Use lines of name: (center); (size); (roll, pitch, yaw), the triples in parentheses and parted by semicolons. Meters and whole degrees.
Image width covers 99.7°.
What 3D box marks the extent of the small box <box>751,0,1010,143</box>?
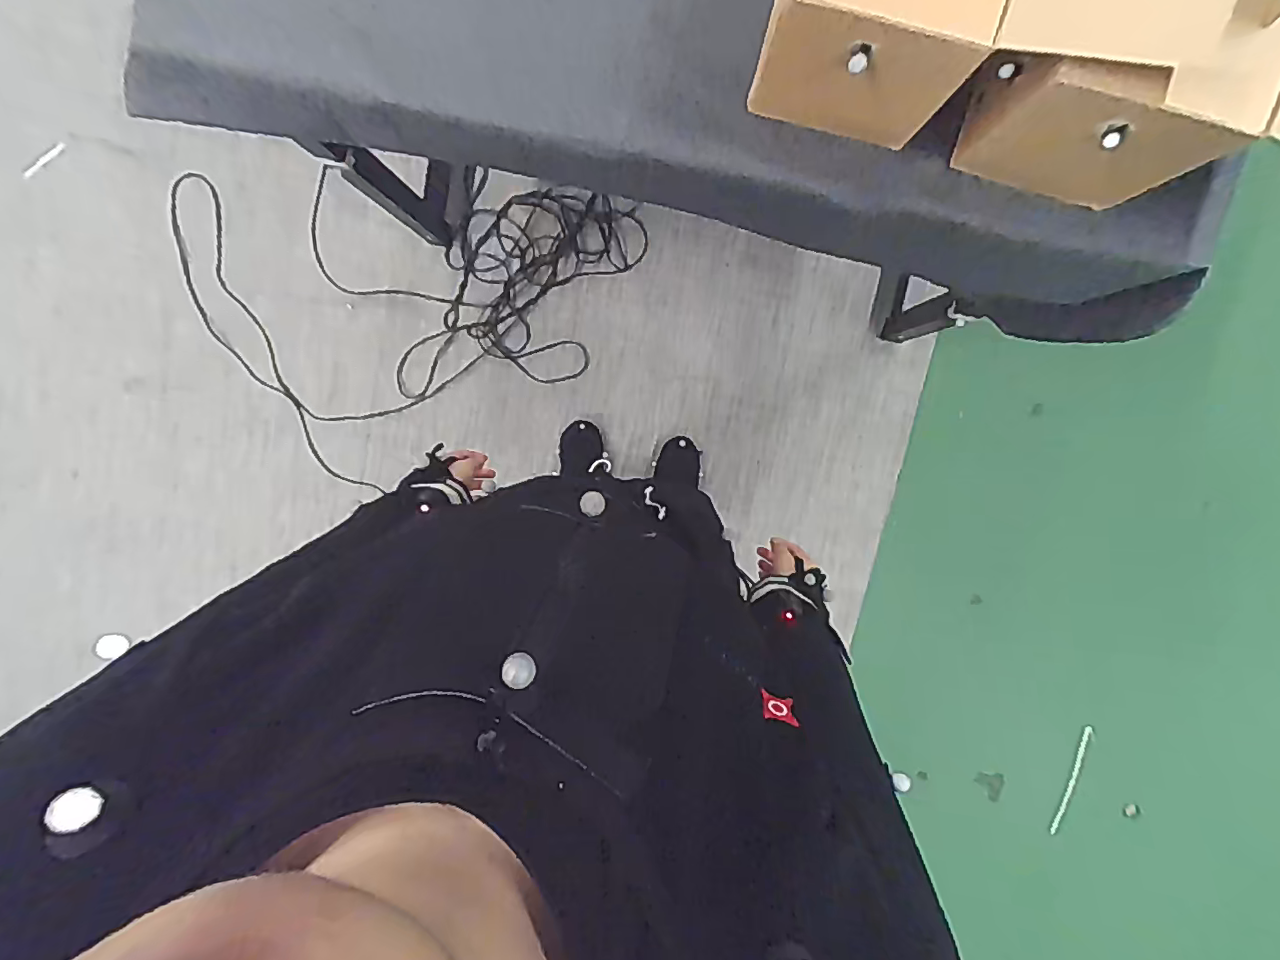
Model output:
small box: (0.218, -0.445, 0.495); (0.179, 0.176, 0.168); (15, 97, 0)
